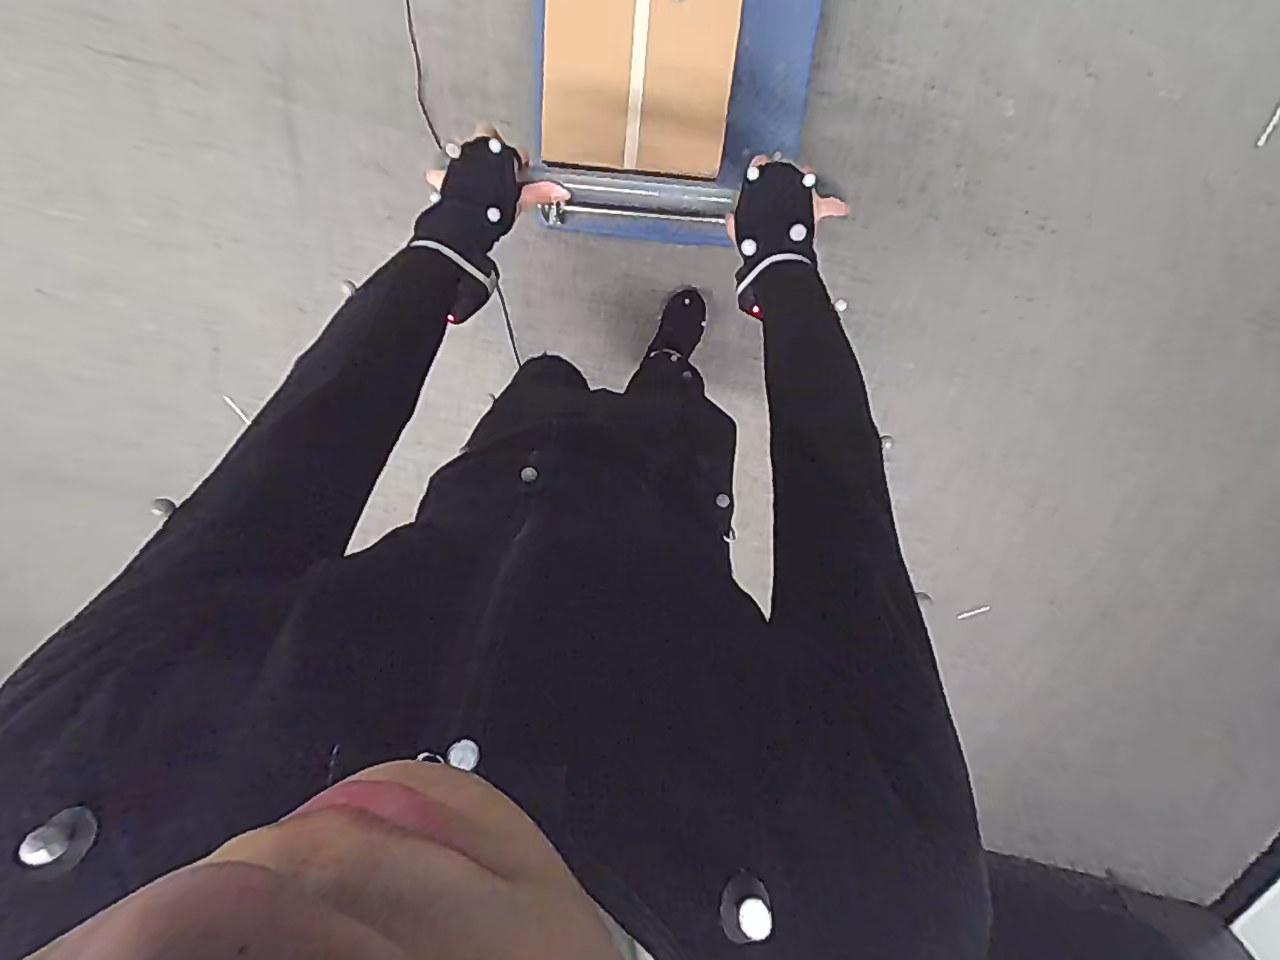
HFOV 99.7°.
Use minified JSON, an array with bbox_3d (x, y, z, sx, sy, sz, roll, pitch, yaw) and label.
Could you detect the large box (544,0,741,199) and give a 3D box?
[{"bbox_3d":[0.013,-0.777,1.013,0.320,0.320,0.408,7,111,2],"label":"large box"}]
